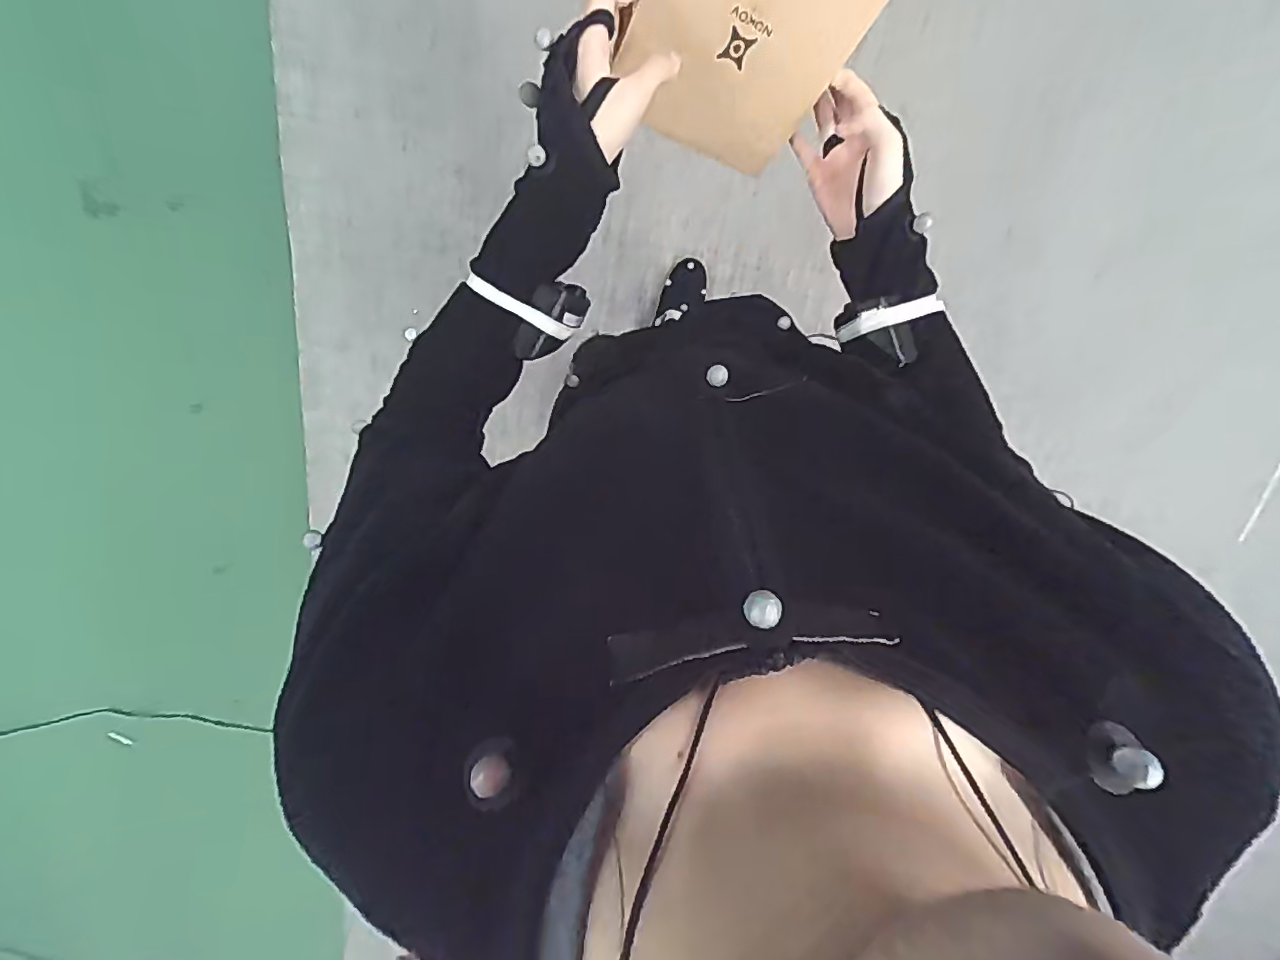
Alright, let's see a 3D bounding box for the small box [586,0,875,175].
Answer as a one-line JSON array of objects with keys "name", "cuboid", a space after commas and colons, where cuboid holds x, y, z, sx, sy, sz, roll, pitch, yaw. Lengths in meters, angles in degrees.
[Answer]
[{"name": "small box", "cuboid": [0.062, -0.402, 0.436, 0.168, 0.176, 0.179, 8, 150, -26]}]
